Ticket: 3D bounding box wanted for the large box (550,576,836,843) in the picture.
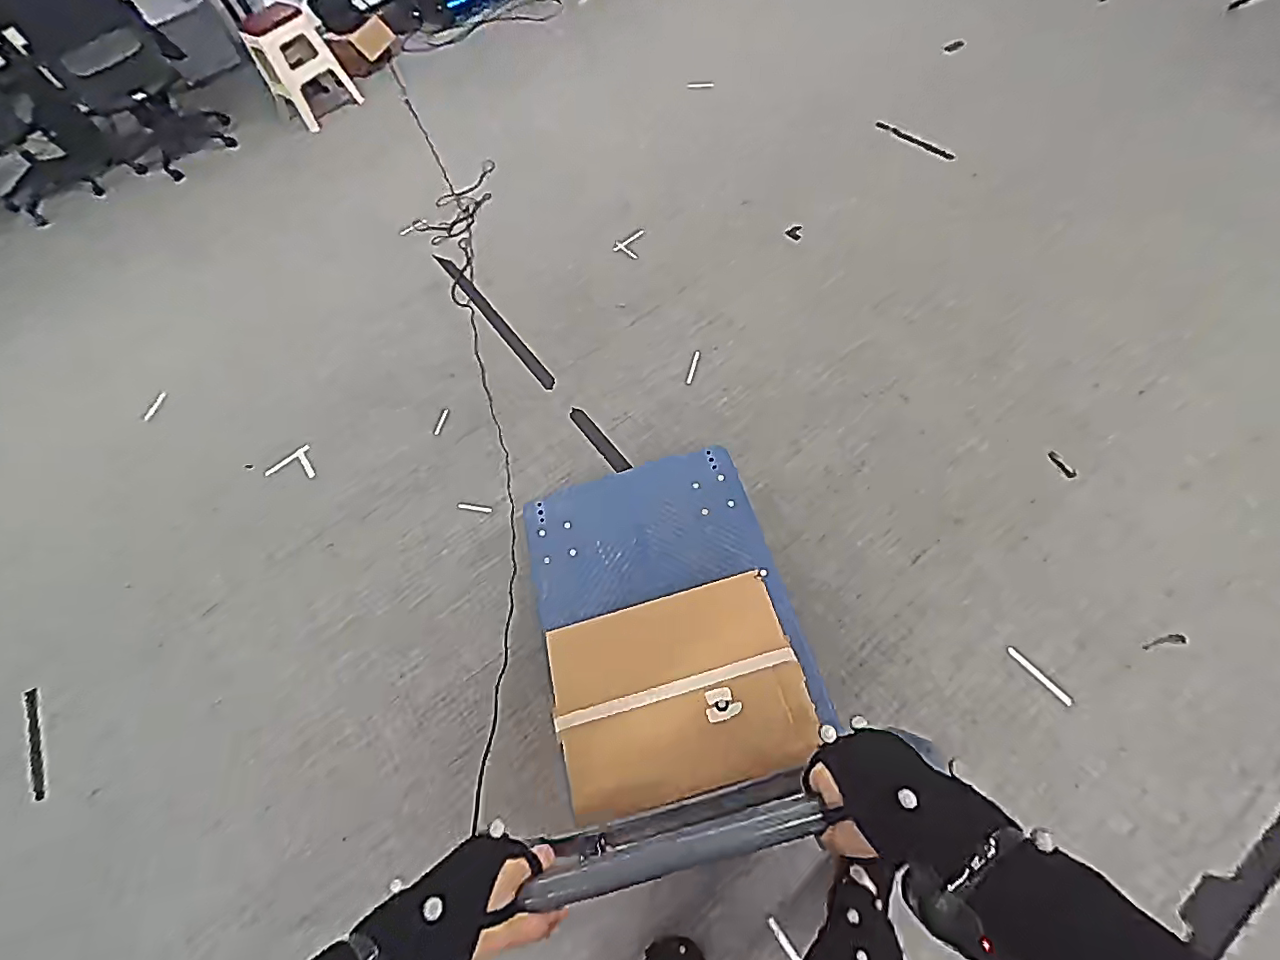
[{"bbox_3d":[0.088,0.429,1.002,0.408,0.320,0.320,-17,59,-1],"label":"large box"}]
